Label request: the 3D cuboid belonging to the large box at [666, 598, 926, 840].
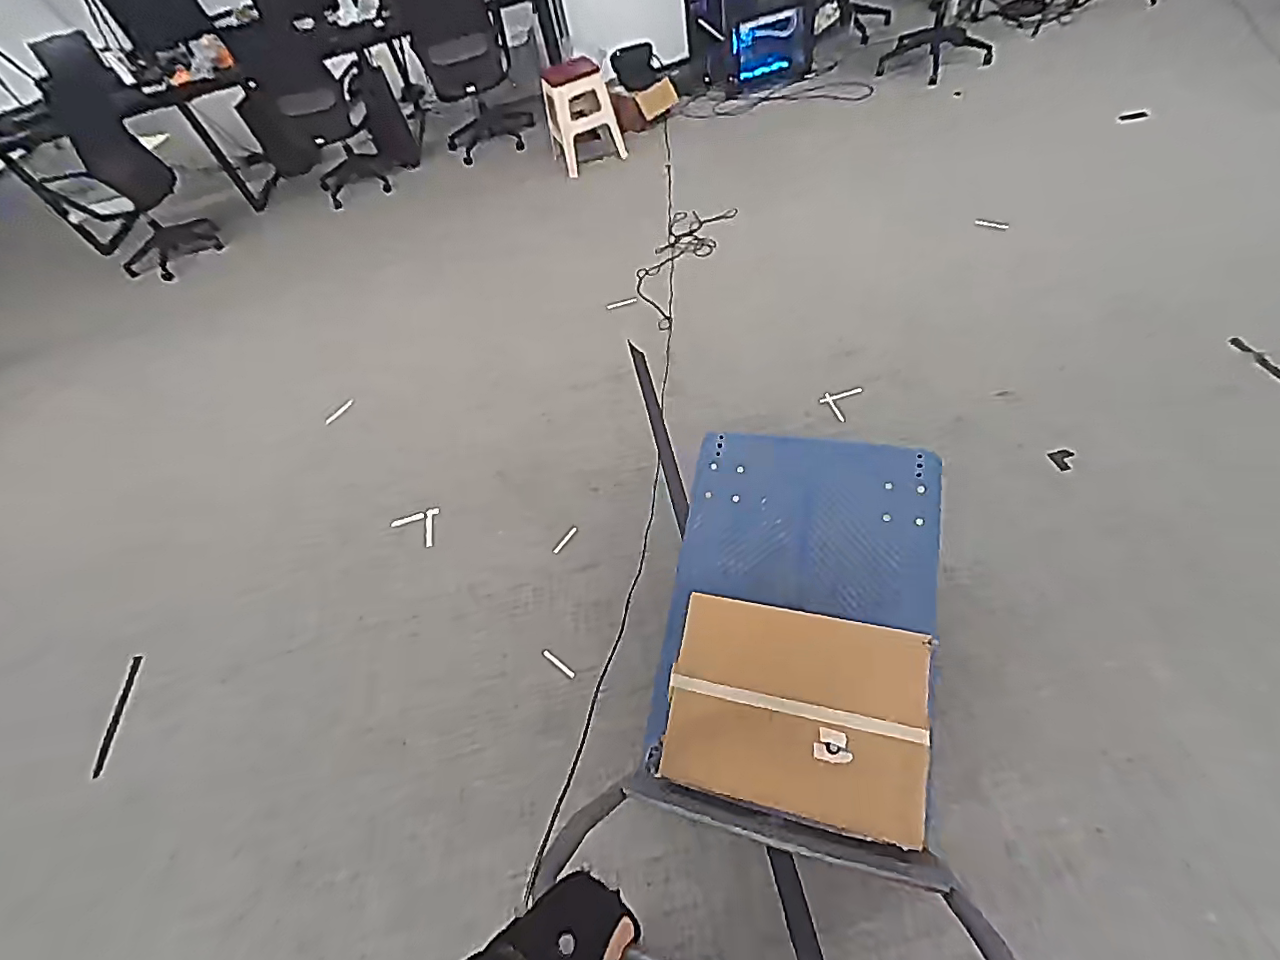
[{"bbox_3d":[0.290,0.434,1.044,0.408,0.320,0.320,7,71,16],"label":"large box"}]
